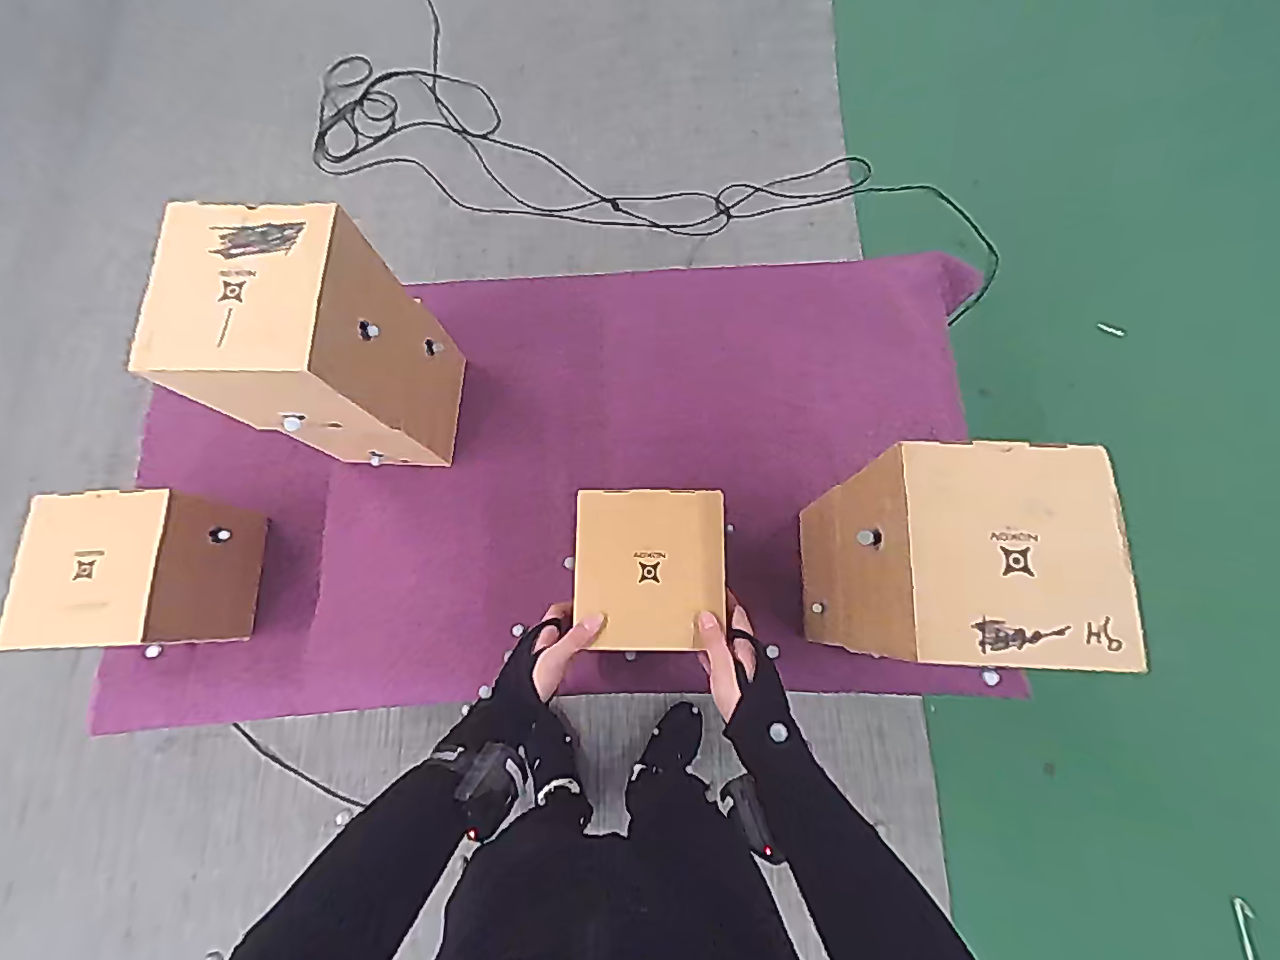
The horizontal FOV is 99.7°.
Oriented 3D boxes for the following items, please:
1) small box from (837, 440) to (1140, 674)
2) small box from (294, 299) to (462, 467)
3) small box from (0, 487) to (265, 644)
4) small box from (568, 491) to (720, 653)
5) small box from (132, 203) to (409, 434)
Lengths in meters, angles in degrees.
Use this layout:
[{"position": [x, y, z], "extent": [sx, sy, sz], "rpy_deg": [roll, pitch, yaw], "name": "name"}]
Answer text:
[{"position": [0.288, 0.075, 0.495], "extent": [0.168, 0.176, 0.179], "rpy_deg": [2, 75, 4], "name": "small box"}, {"position": [-0.355, -0.127, 0.735], "extent": [0.168, 0.176, 0.179], "rpy_deg": [3, 77, 3], "name": "small box"}, {"position": [-0.616, 0.114, 0.683], "extent": [0.168, 0.176, 0.179], "rpy_deg": [-2, 75, 1], "name": "small box"}, {"position": [0.010, 0.116, 0.667], "extent": [0.168, 0.176, 0.179], "rpy_deg": [0, 75, 2], "name": "small box"}, {"position": [-0.365, -0.160, 0.574], "extent": [0.168, 0.176, 0.179], "rpy_deg": [1, 77, 2], "name": "small box"}]
